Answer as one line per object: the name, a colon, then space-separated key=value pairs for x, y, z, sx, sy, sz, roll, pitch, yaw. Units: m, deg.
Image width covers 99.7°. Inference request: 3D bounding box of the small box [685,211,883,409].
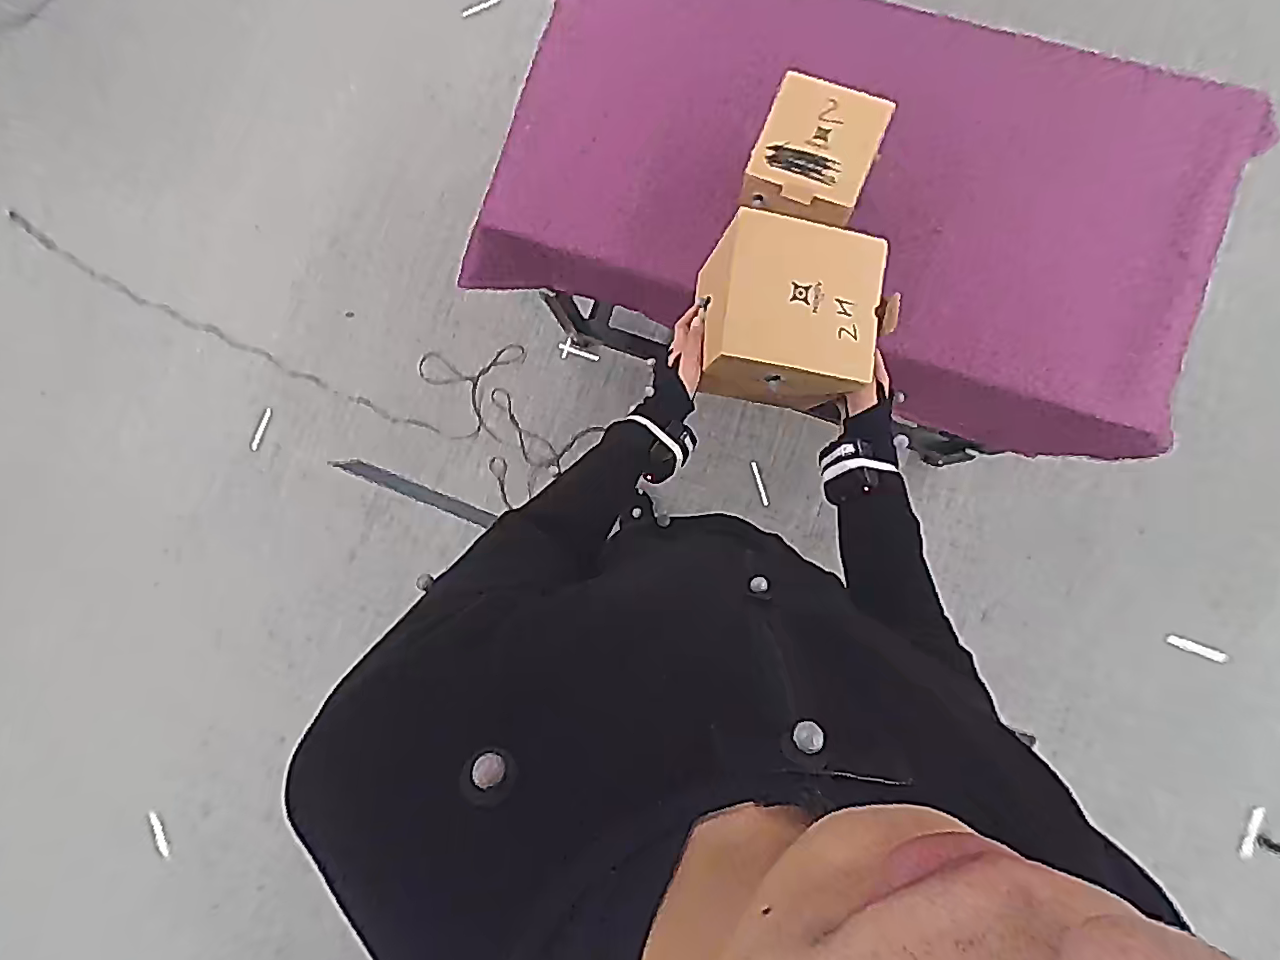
small box: x=0.163 y=-0.191 z=0.663 sx=0.179 sy=0.176 sz=0.168 roll=9 pitch=85 yaw=-9
